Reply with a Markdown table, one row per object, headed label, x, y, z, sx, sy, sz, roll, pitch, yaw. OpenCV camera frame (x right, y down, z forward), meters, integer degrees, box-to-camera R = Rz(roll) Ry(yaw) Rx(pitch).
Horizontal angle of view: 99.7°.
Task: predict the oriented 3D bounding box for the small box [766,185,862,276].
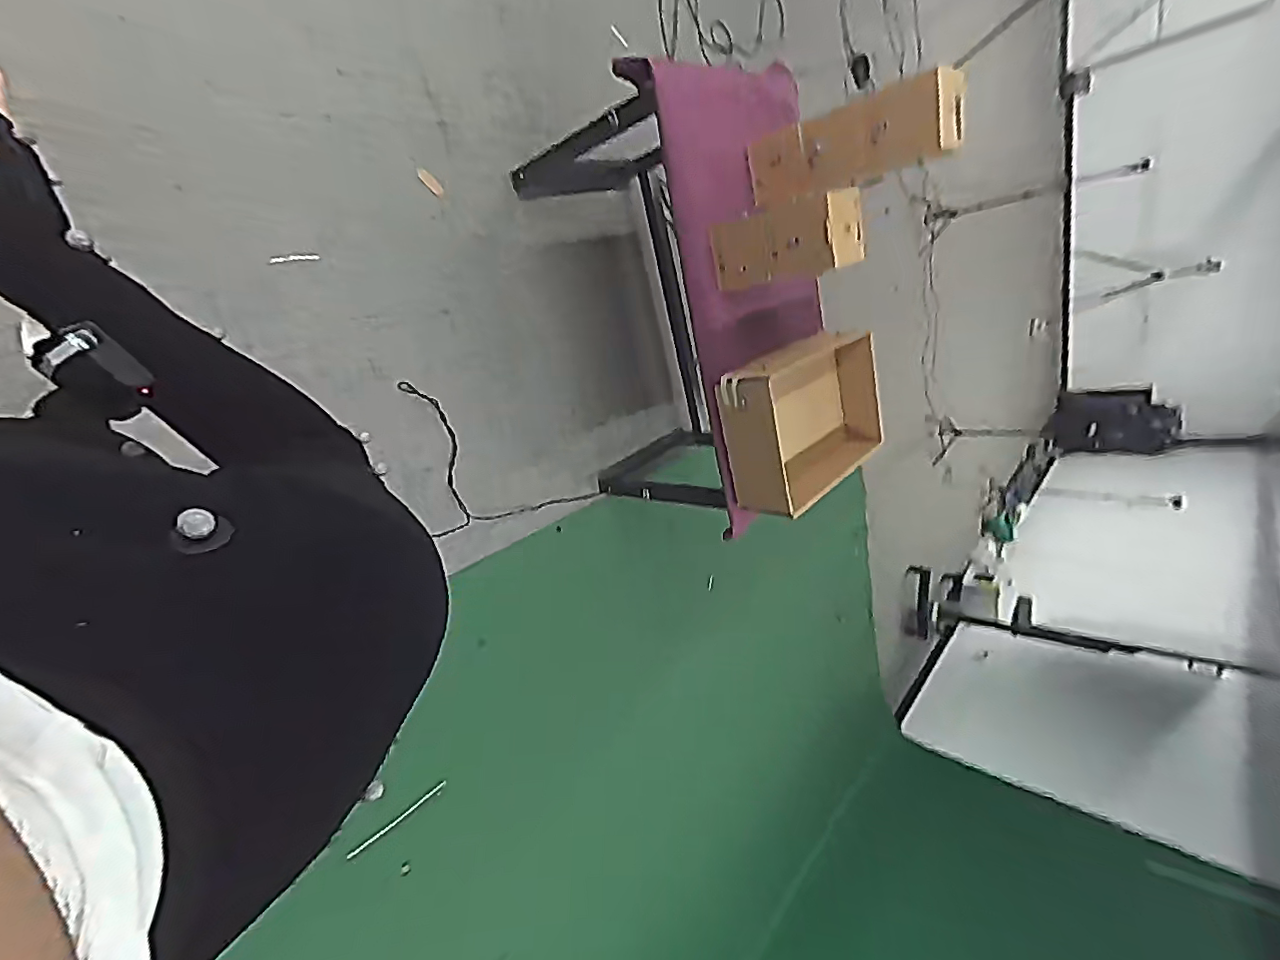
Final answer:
| label | x | y | z | sx | sy | sz | roll | pitch | yaw |
| --- | --- | --- | --- | --- | --- | --- | --- | --- | --- |
| small box | 0.422 | -0.609 | 1.327 | 0.179 | 0.176 | 0.168 | -30 | 115 | -39 |

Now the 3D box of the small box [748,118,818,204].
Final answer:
| label | x | y | z | sx | sy | sz | roll | pitch | yaw |
| --- | --- | --- | --- | --- | --- | --- | --- | --- | --- |
| small box | 0.419 | -0.895 | 1.526 | 0.179 | 0.176 | 0.168 | -32 | 115 | -39 |

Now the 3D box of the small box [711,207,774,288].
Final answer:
| label | x | y | z | sx | sy | sz | roll | pitch | yaw |
| --- | --- | --- | --- | --- | --- | --- | --- | --- | --- |
| small box | 0.304 | -0.620 | 1.440 | 0.179 | 0.176 | 0.168 | -30 | 115 | -40 |

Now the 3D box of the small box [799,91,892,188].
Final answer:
| label | x | y | z | sx | sy | sz | roll | pitch | yaw |
| --- | --- | --- | --- | --- | --- | --- | --- | --- | --- |
| small box | 0.537 | -0.879 | 1.413 | 0.179 | 0.176 | 0.168 | -26 | 111 | -39 |
